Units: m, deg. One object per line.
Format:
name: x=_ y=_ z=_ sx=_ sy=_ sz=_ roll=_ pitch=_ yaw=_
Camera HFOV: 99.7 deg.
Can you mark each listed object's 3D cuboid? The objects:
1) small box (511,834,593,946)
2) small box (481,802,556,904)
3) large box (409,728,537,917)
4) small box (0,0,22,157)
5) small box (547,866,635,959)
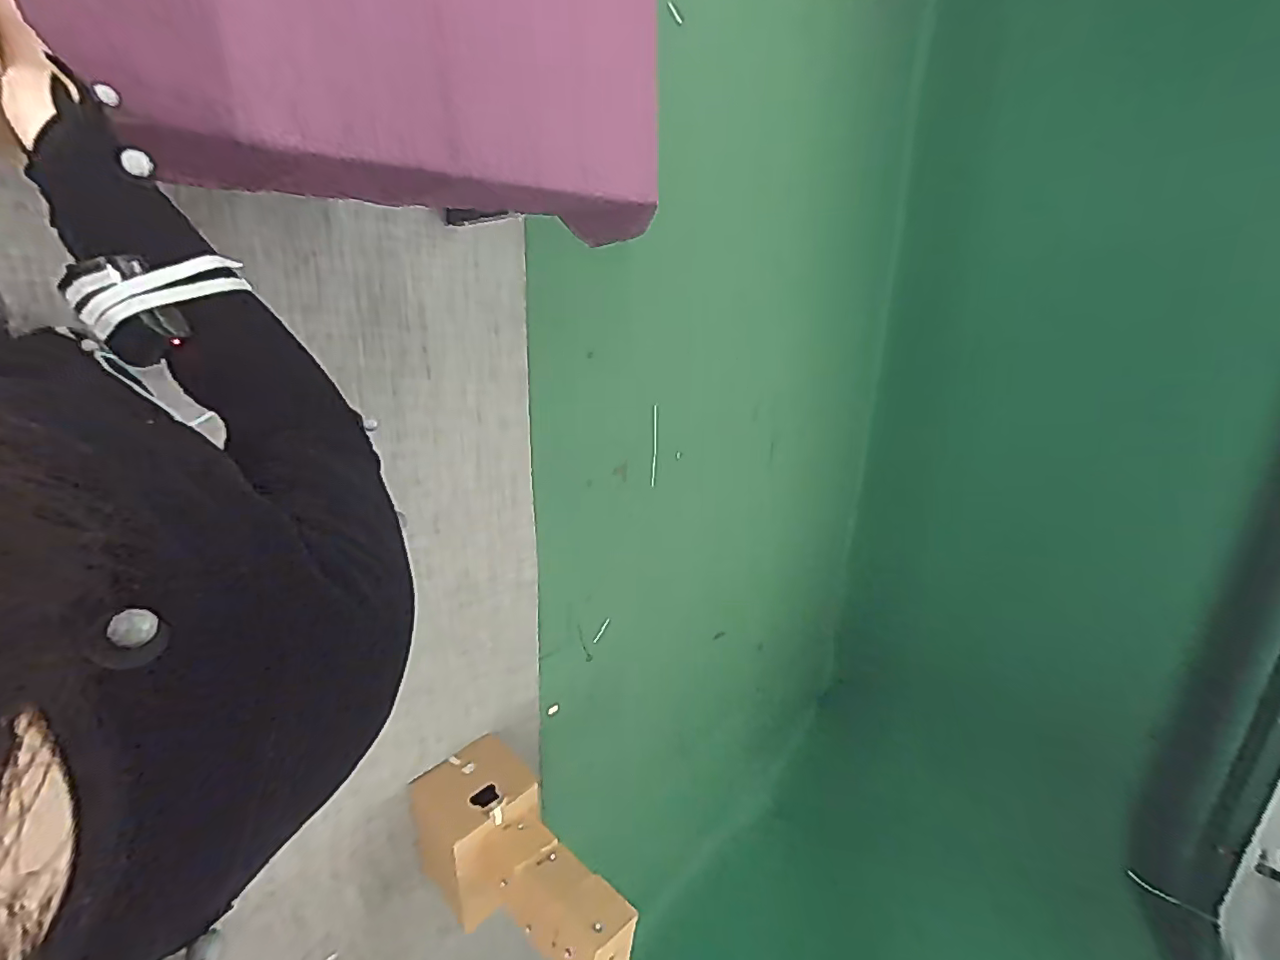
small box: x=-0.272 y=1.238 z=1.647 sx=0.168 sy=0.176 sz=0.179 roll=1 pitch=102 yaw=-50
small box: x=-0.395 y=1.192 z=1.743 sx=0.168 sy=0.176 sz=0.179 roll=-4 pitch=106 yaw=-49
large box: x=-0.579 y=1.185 z=1.910 sx=0.320 sy=0.320 sz=0.408 roll=-19 pitch=118 yaw=-44
small box: x=-0.474 y=-0.318 z=0.293 sx=0.168 sy=0.176 sz=0.179 roll=-9 pitch=98 yaw=-45
small box: x=-0.144 y=1.270 z=1.548 sx=0.179 sy=0.176 sz=0.168 roll=2 pitch=102 yaw=-50
